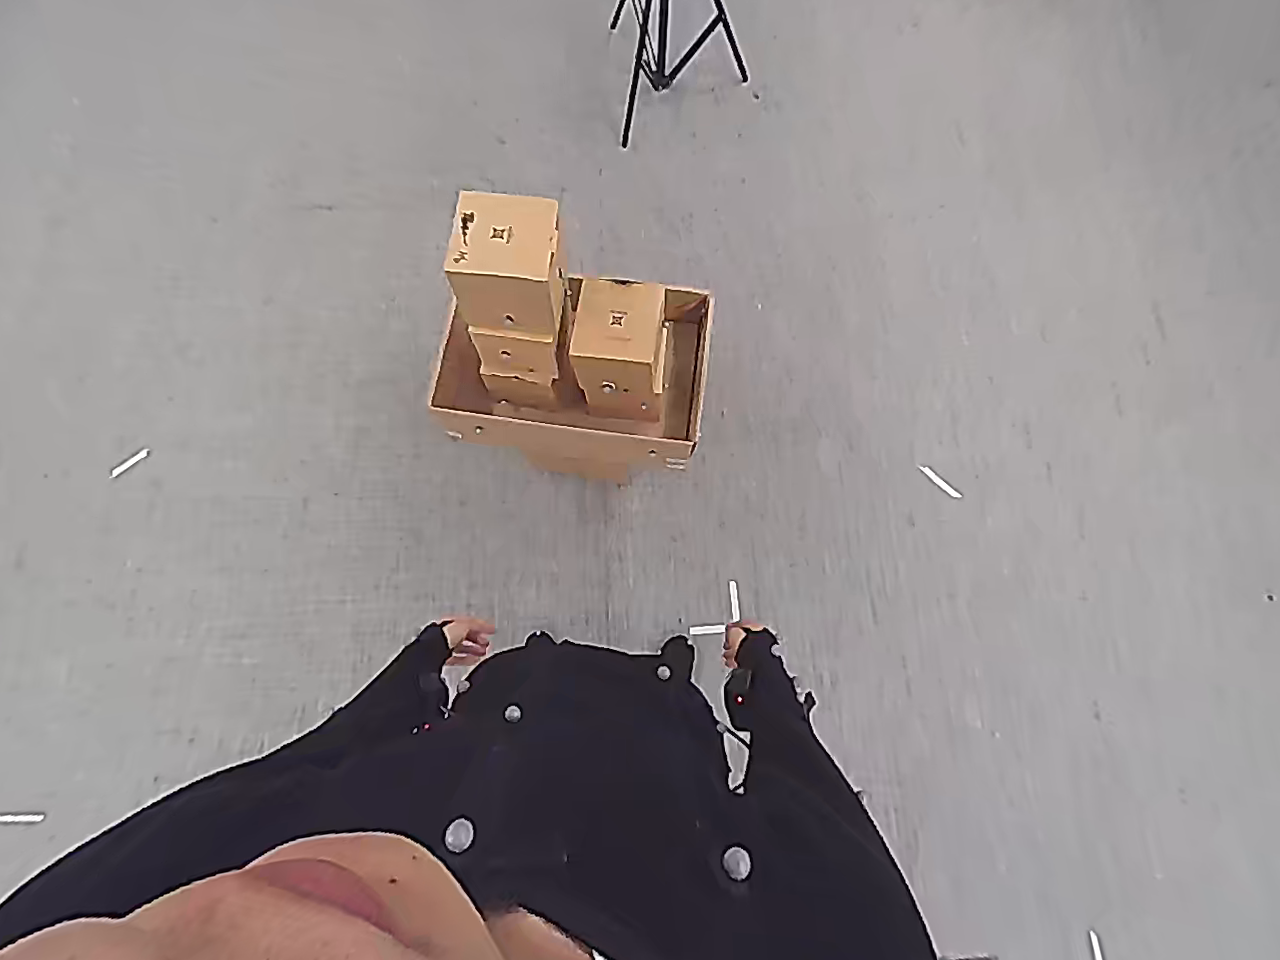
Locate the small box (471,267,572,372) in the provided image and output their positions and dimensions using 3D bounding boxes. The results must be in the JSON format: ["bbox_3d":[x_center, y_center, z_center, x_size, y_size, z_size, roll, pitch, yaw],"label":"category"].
[{"bbox_3d":[-0.239,-0.347,1.139,0.168,0.176,0.179,8,74,-1],"label":"small box"}]

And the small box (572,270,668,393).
[{"bbox_3d":[-0.037,-0.303,1.126,0.168,0.176,0.179,8,75,4],"label":"small box"}]

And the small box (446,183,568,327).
[{"bbox_3d":[-0.229,-0.399,0.983,0.179,0.176,0.168,7,74,-2],"label":"small box"}]
